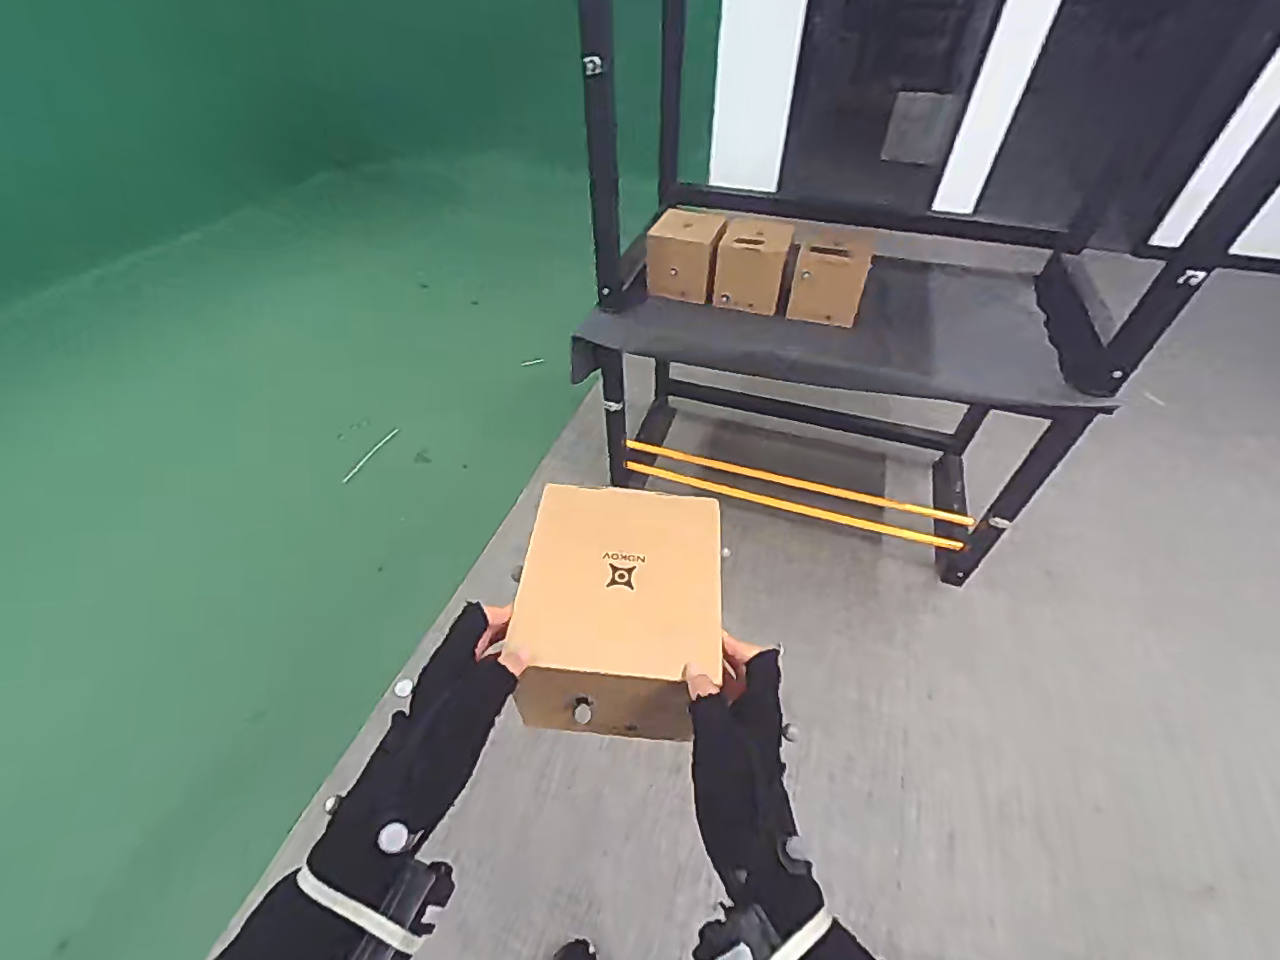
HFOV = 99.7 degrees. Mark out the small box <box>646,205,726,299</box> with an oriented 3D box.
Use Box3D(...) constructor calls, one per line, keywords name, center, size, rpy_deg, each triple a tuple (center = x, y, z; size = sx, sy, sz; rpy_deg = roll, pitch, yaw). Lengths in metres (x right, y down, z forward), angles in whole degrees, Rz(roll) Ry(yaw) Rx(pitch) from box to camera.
Box3D(name="small box", center=(0.122, -0.608, 1.447), size=(0.168, 0.176, 0.179), rpy_deg=(17, 49, 14))
